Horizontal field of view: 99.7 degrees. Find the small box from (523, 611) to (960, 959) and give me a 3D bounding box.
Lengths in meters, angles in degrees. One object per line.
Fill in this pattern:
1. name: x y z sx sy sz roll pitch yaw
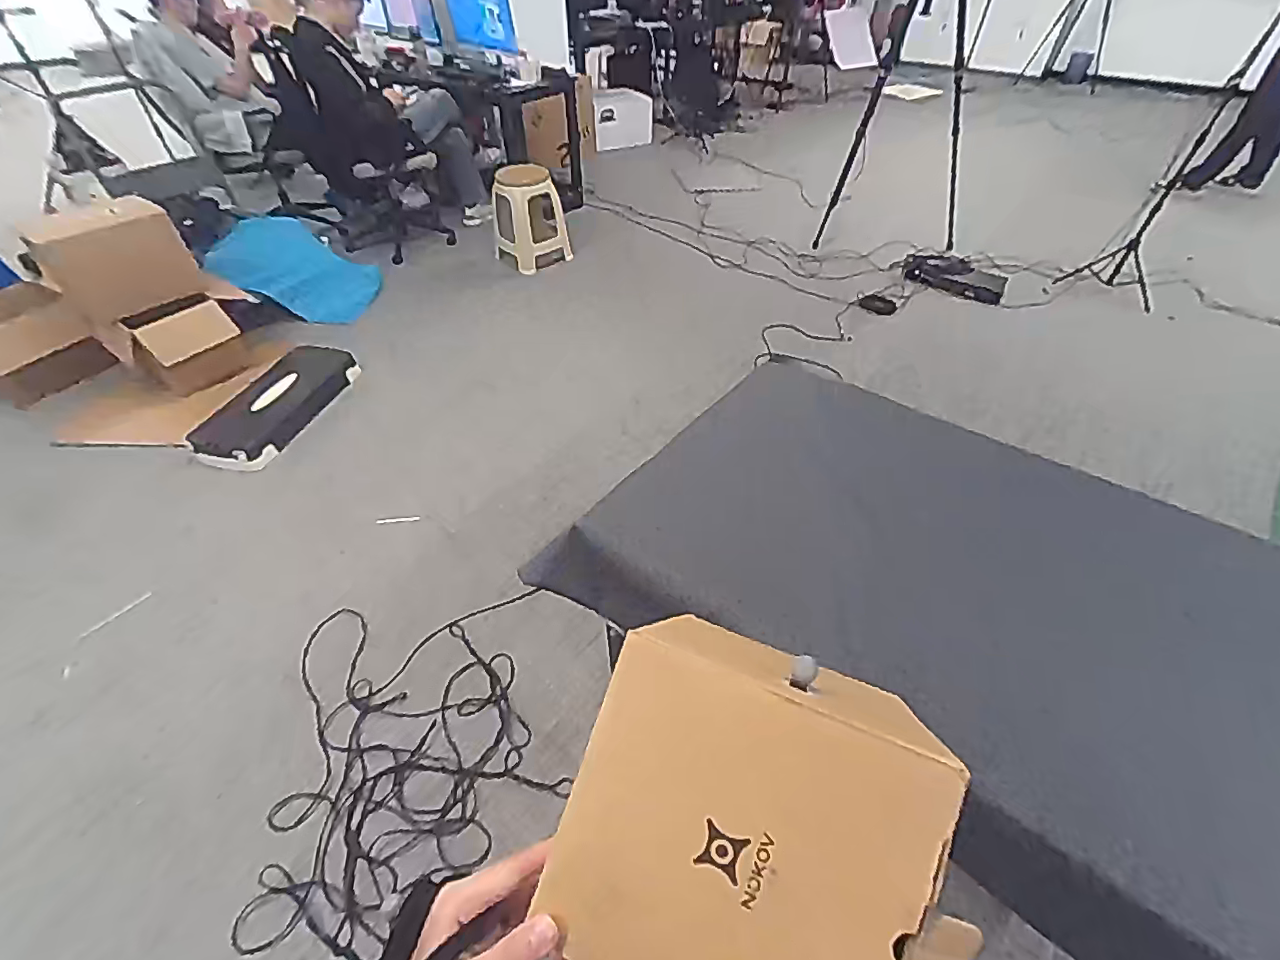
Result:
1. small box: 0.063 0.193 0.343 0.179 0.176 0.168 19 83 17
